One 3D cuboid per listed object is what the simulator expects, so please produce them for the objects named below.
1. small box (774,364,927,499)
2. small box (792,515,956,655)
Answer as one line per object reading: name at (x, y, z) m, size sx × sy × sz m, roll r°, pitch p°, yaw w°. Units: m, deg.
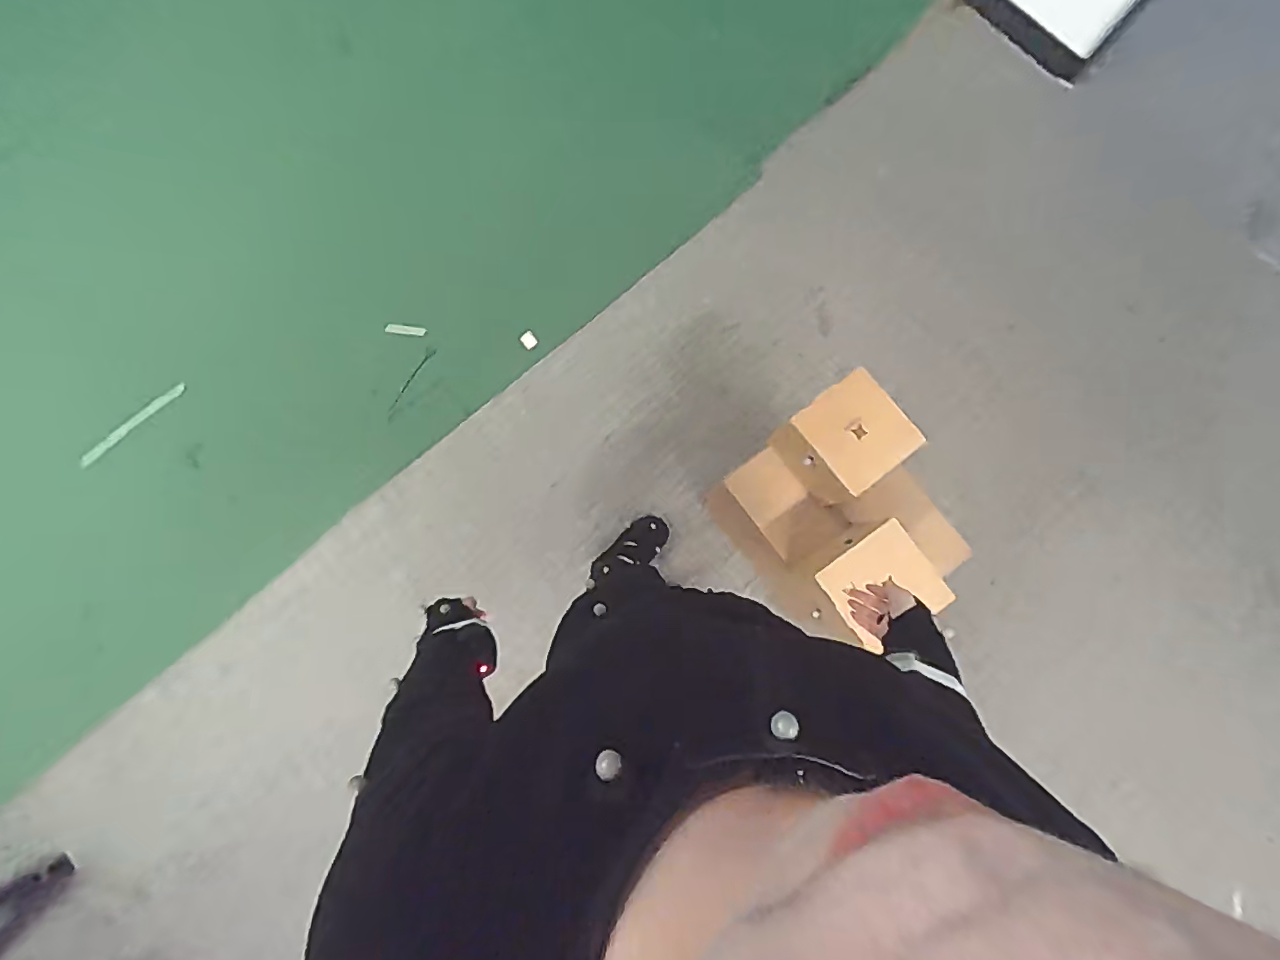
small box at (0.377, -0.078, 1.003) m, size 0.168 × 0.176 × 0.179 m, roll -36°, pitch 82°, yaw -5°
small box at (0.402, 0.181, 0.963) m, size 0.179 × 0.176 × 0.168 m, roll -34°, pitch 82°, yaw -5°
